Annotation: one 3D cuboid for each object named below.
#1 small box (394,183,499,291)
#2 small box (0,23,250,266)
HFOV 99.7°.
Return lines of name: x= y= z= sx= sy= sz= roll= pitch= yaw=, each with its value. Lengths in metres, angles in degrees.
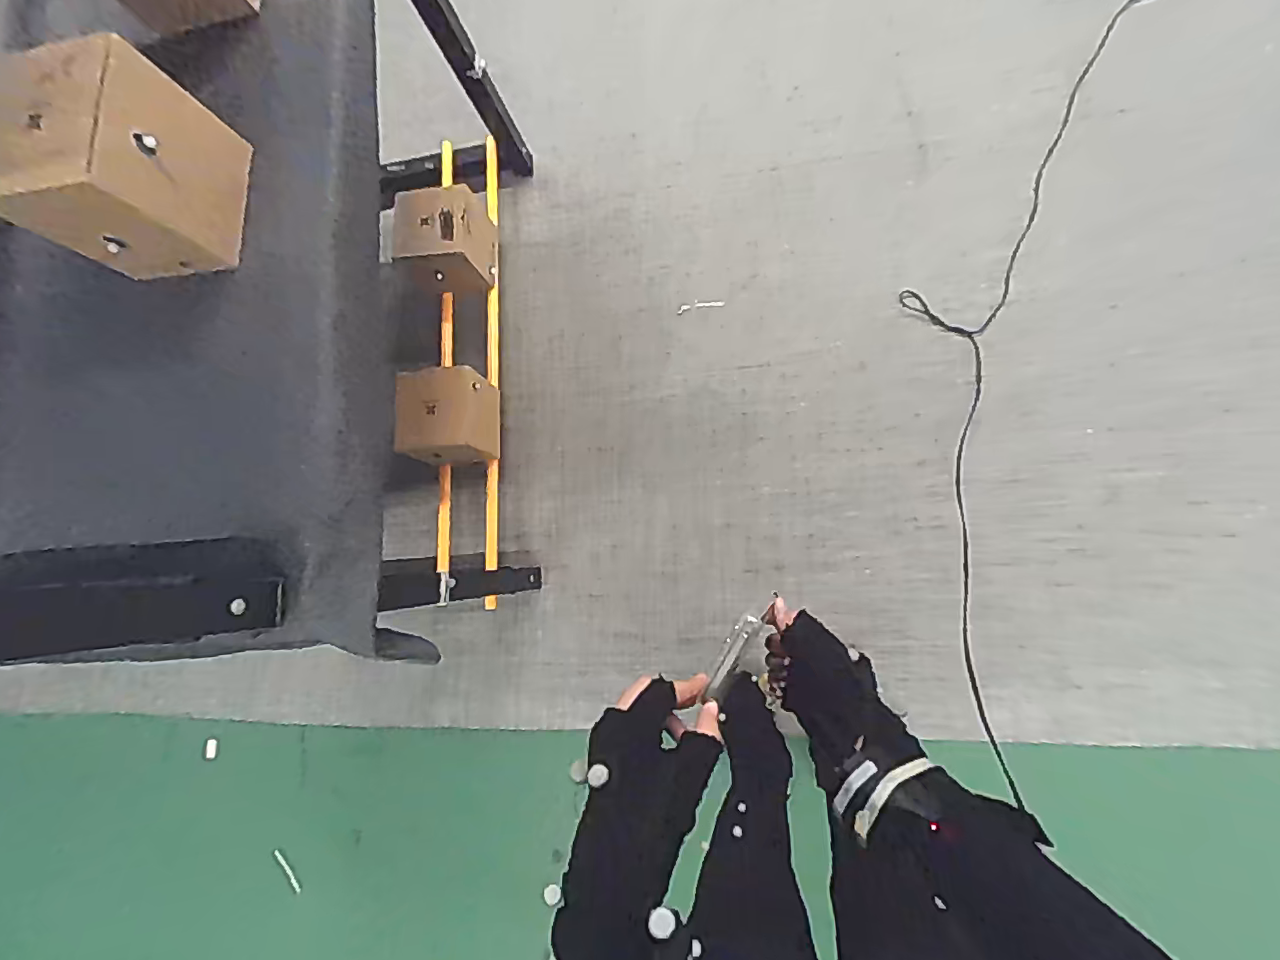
small box: x=-0.448 y=-0.564 z=1.276 sx=0.179 sy=0.176 sz=0.168 roll=-1 pitch=81 yaw=11
small box: x=-0.602 y=-0.370 z=0.634 sx=0.168 sy=0.176 sz=0.179 roll=-1 pitch=81 yaw=11
